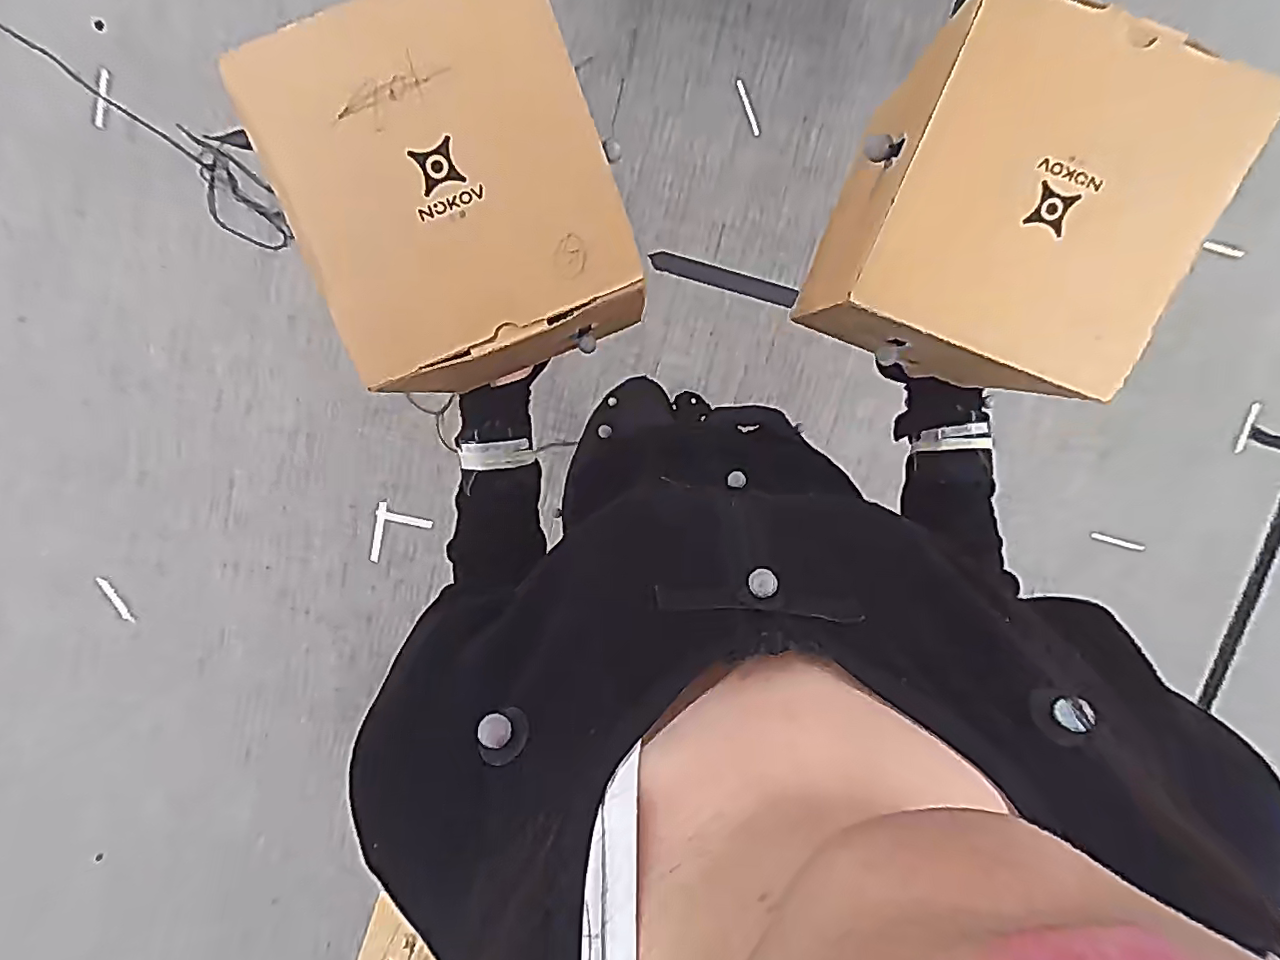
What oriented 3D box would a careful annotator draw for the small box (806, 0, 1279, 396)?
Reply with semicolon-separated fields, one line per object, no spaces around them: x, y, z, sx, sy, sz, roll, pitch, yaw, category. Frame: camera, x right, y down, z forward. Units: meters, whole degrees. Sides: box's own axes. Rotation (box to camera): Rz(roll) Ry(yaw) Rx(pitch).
0.231;-0.172;0.370;0.168;0.176;0.179;21;102;-2;small box

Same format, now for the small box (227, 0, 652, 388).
-0.100;-0.171;0.355;0.168;0.176;0.179;-22;98;1;small box
